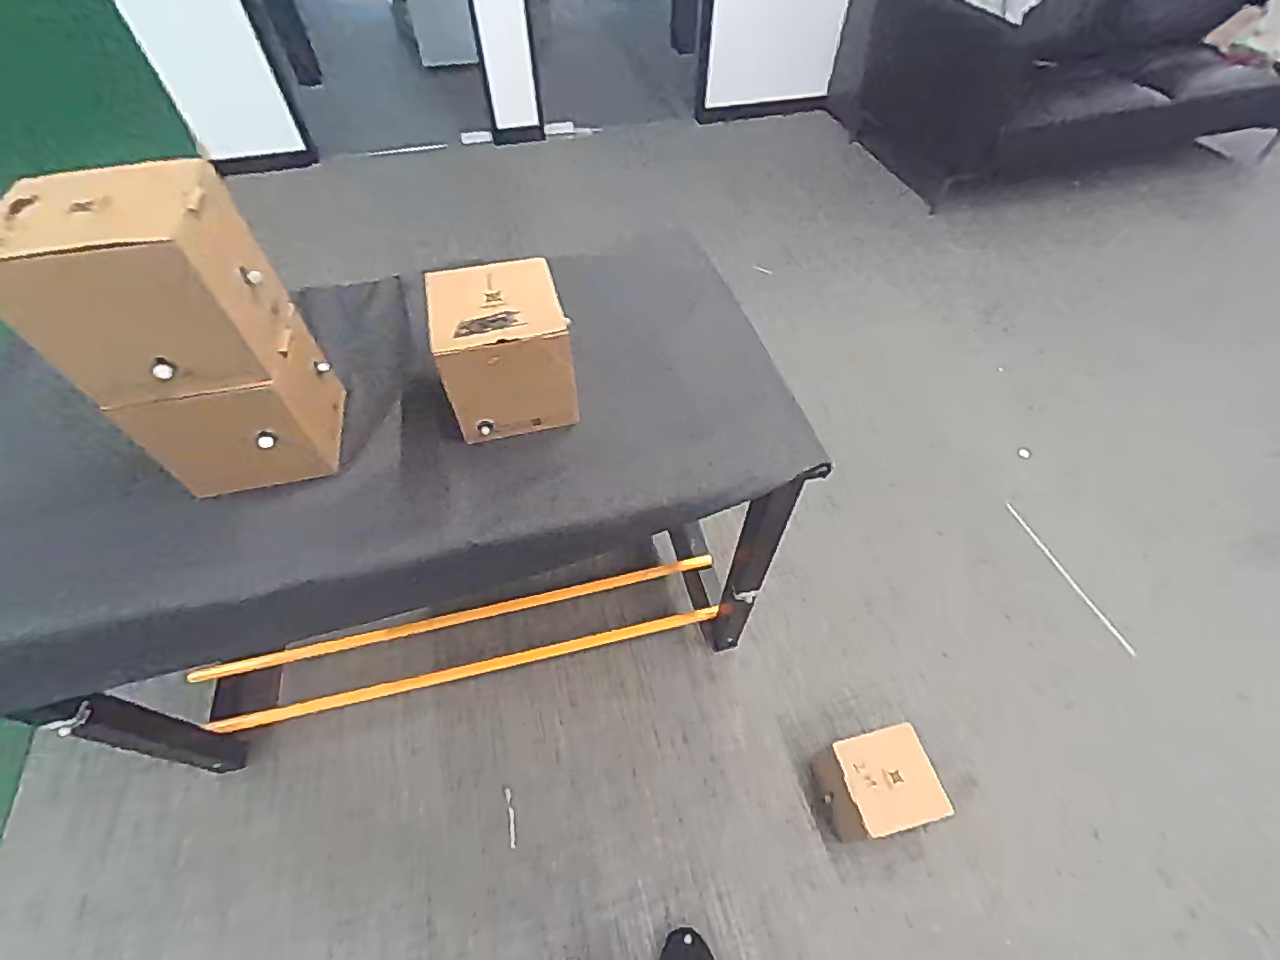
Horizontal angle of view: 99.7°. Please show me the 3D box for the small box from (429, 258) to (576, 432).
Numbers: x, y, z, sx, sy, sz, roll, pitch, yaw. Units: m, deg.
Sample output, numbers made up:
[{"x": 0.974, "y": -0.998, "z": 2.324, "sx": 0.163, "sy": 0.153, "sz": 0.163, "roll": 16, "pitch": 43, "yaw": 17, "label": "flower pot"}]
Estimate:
[{"x": -0.190, "y": -0.185, "z": 0.770, "sx": 0.168, "sy": 0.176, "sz": 0.179, "roll": -12, "pitch": 53, "yaw": -10, "label": "small box"}]

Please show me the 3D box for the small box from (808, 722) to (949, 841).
[{"x": 0.468, "y": 0.611, "z": 1.094, "sx": 0.179, "sy": 0.176, "sz": 0.168, "roll": -10, "pitch": 53, "yaw": -9, "label": "small box"}]

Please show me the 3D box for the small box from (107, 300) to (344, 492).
[{"x": -0.512, "y": -0.106, "z": 0.705, "sx": 0.179, "sy": 0.176, "sz": 0.168, "roll": -12, "pitch": 53, "yaw": -9, "label": "small box"}]

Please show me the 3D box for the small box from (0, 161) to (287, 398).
[{"x": -0.513, "y": -0.211, "z": 0.579, "sx": 0.179, "sy": 0.176, "sz": 0.168, "roll": -12, "pitch": 53, "yaw": -10, "label": "small box"}]
